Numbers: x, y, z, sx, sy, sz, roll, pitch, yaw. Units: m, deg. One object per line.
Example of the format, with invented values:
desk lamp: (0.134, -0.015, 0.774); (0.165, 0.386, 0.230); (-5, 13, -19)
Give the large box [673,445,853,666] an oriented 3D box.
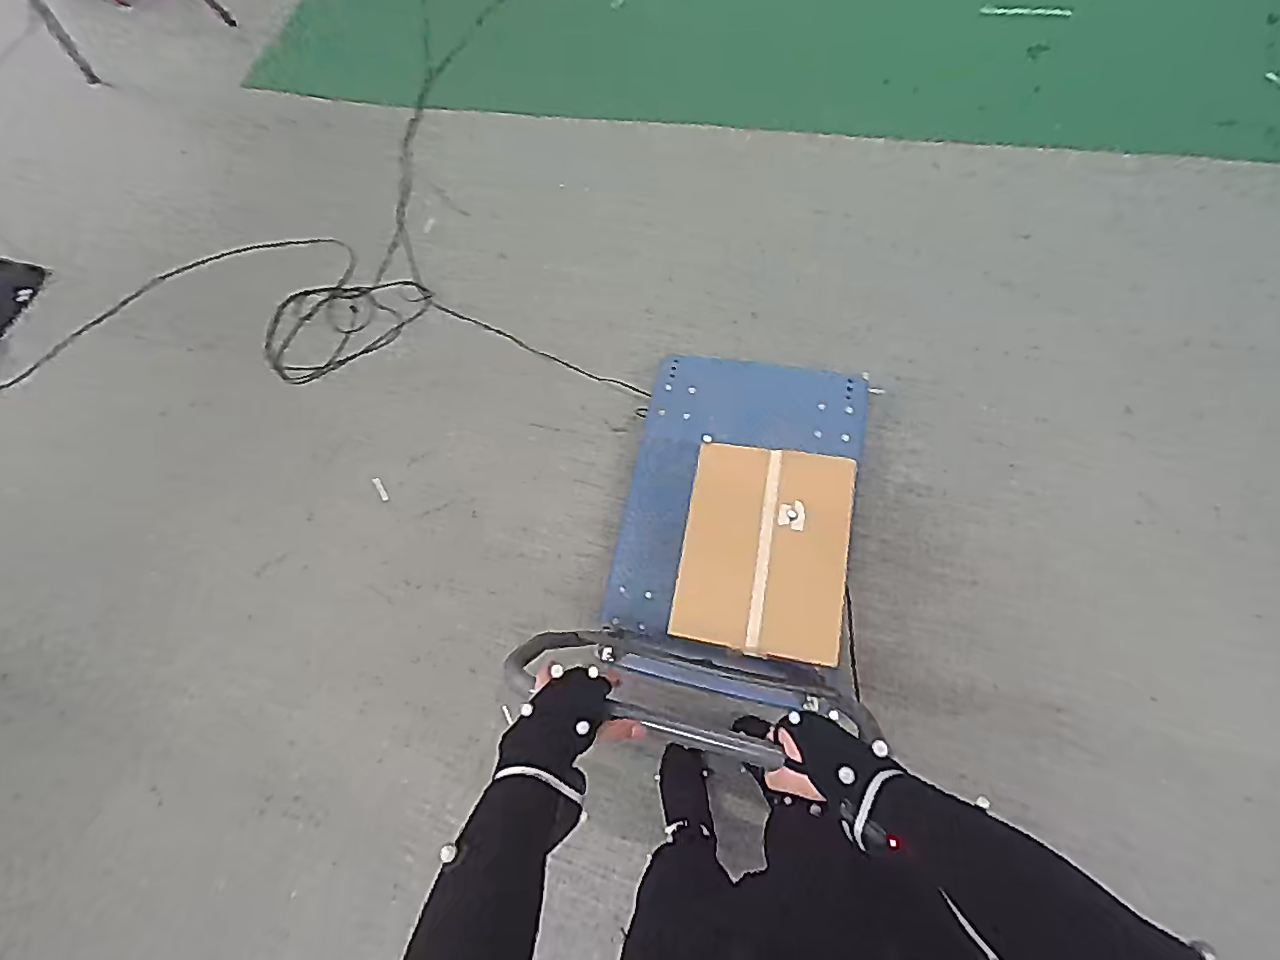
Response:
large box: (0.269, 0.179, 1.196); (0.320, 0.320, 0.408); (8, 72, 12)
